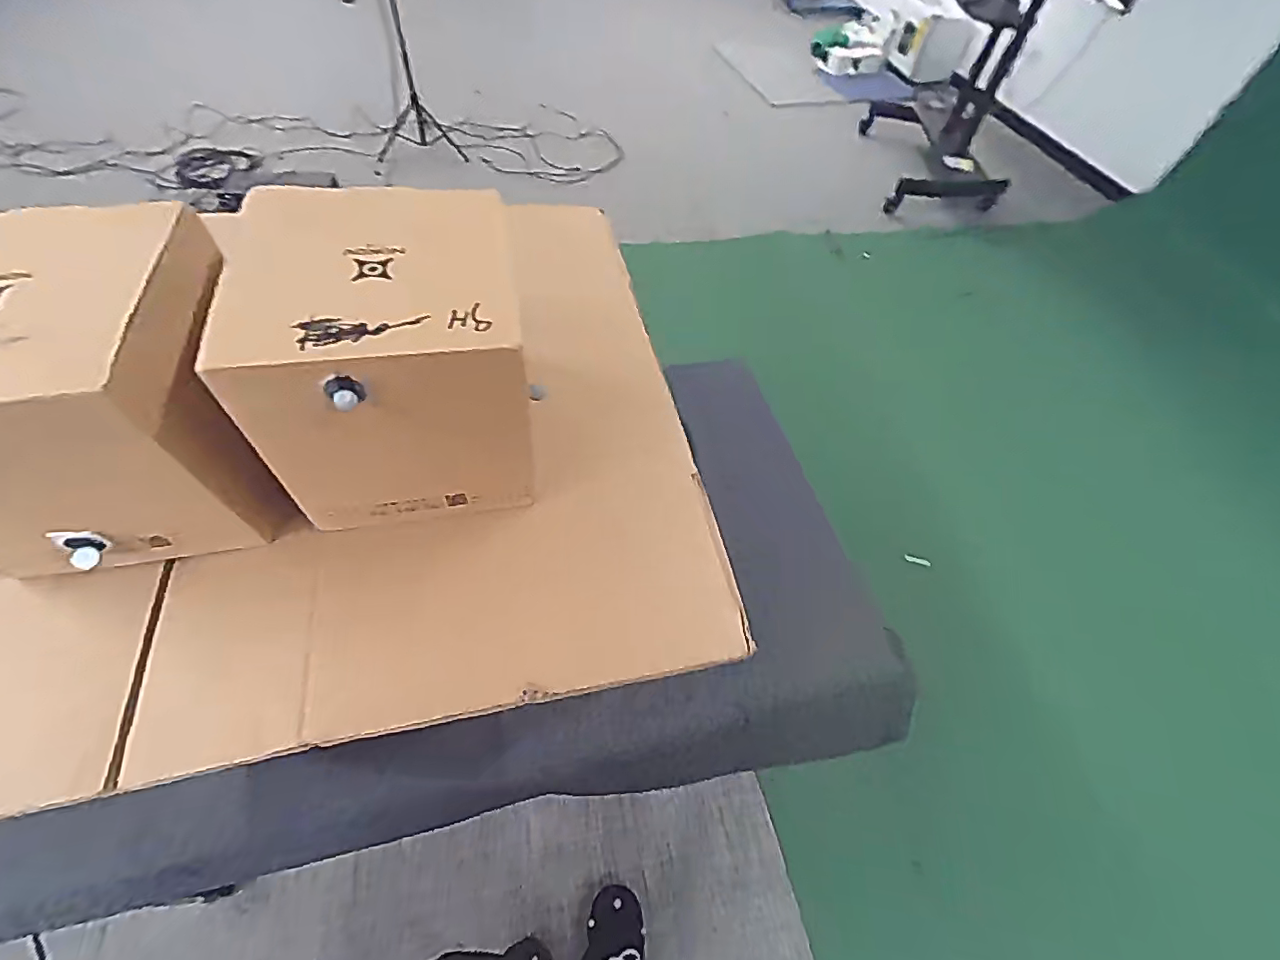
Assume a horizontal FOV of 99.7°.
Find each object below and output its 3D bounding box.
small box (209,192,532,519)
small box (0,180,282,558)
[{"bbox_3d":[-0.175,-0.093,0.413,0.168,0.176,0.179,-7,55,-12],"label":"small box"},{"bbox_3d":[-0.364,-0.071,0.363,0.168,0.176,0.179,-9,58,-10],"label":"small box"}]
